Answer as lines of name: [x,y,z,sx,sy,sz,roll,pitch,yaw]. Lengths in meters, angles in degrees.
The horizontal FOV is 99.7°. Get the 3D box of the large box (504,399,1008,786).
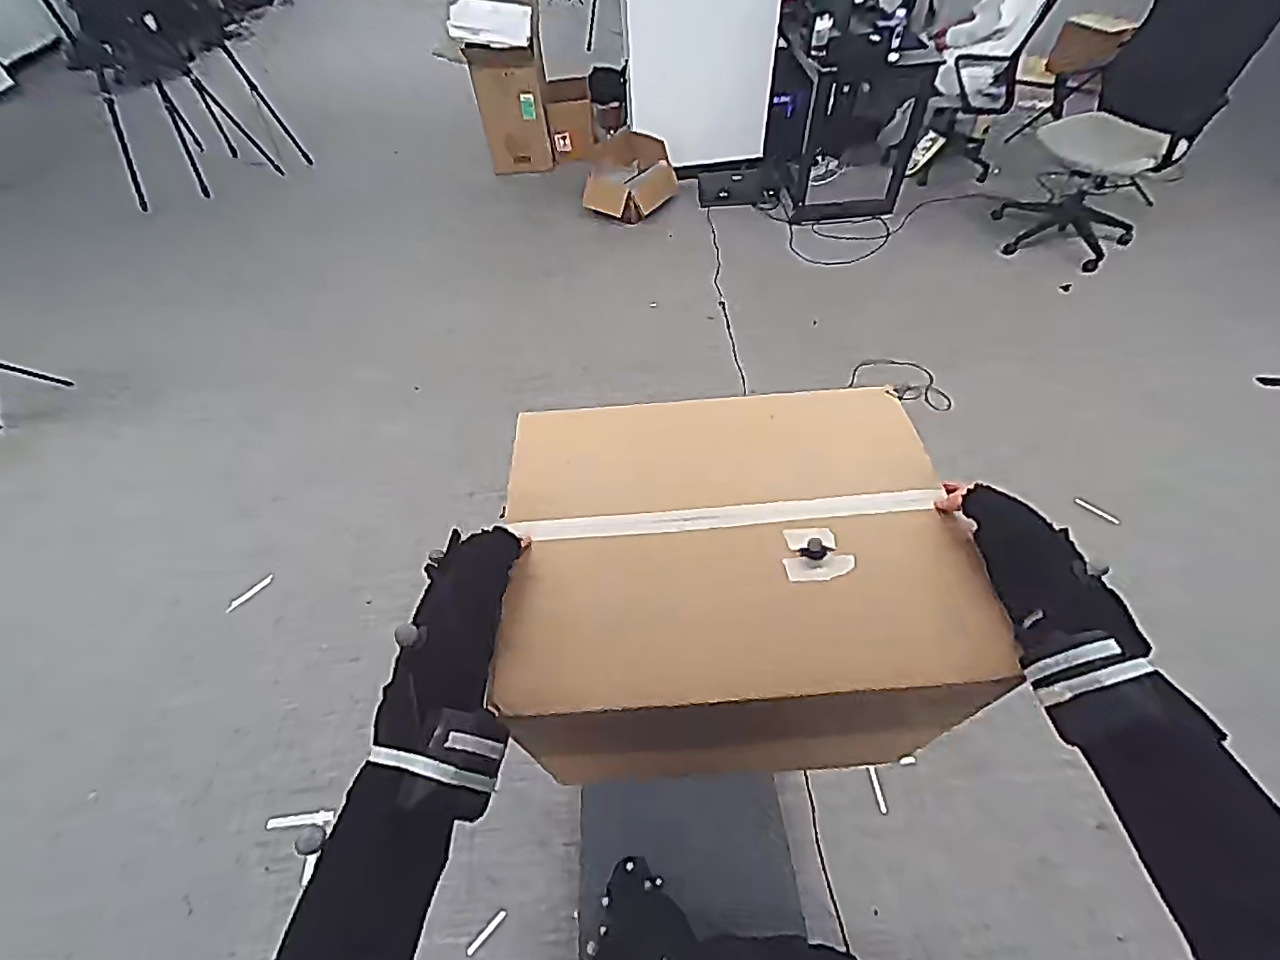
large box: [0.087,0.138,0.624,0.408,0.320,0.320,-4,52,0]
